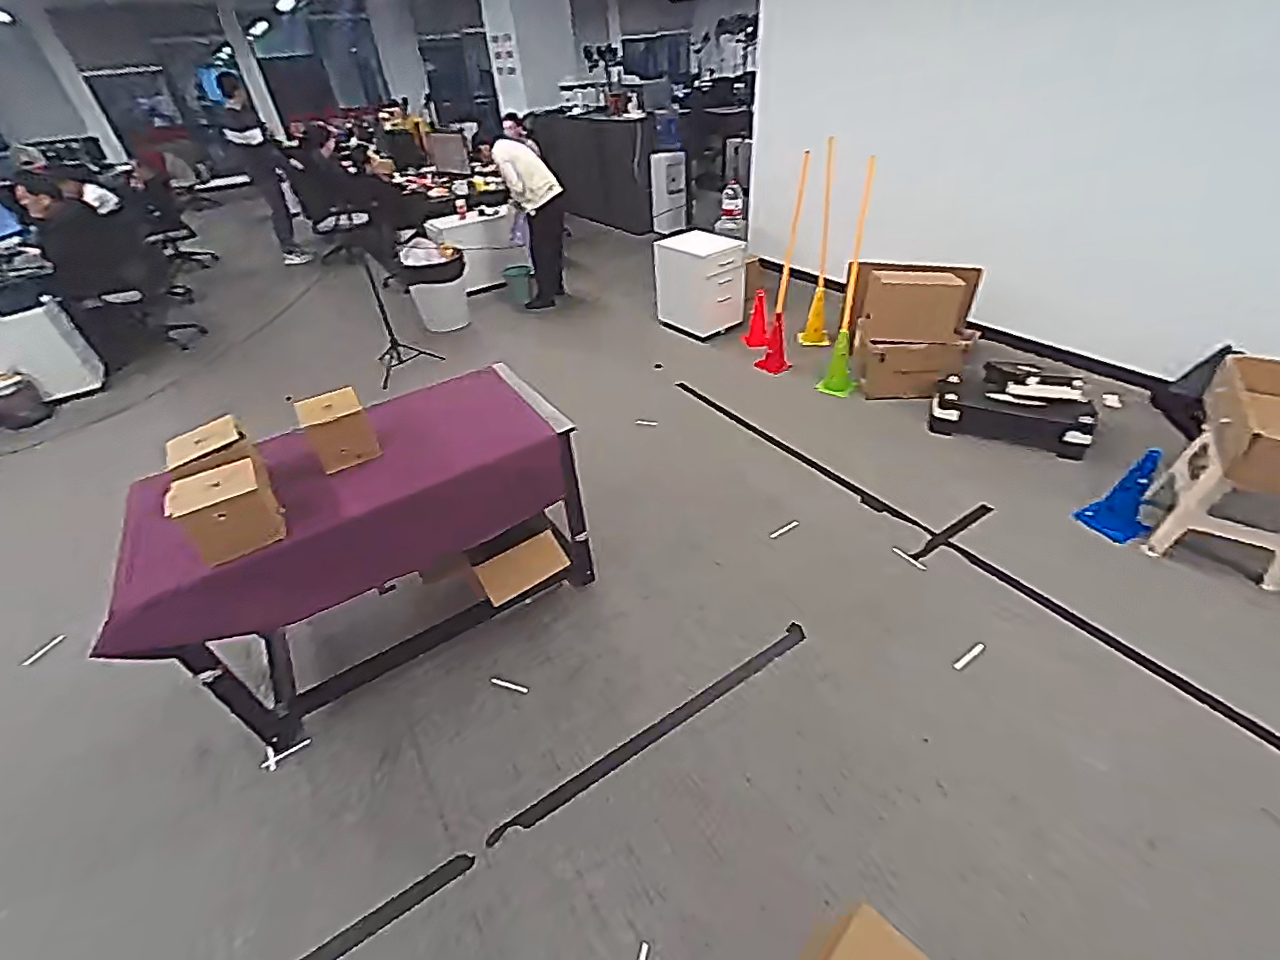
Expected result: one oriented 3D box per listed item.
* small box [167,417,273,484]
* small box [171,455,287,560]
[{"bbox_3d":[-1.170,-0.045,1.510,0.179,0.176,0.168,-26,44,-26],"label":"small box"},{"bbox_3d":[-1.024,0.069,1.355,0.179,0.176,0.168,-25,43,-25],"label":"small box"}]
